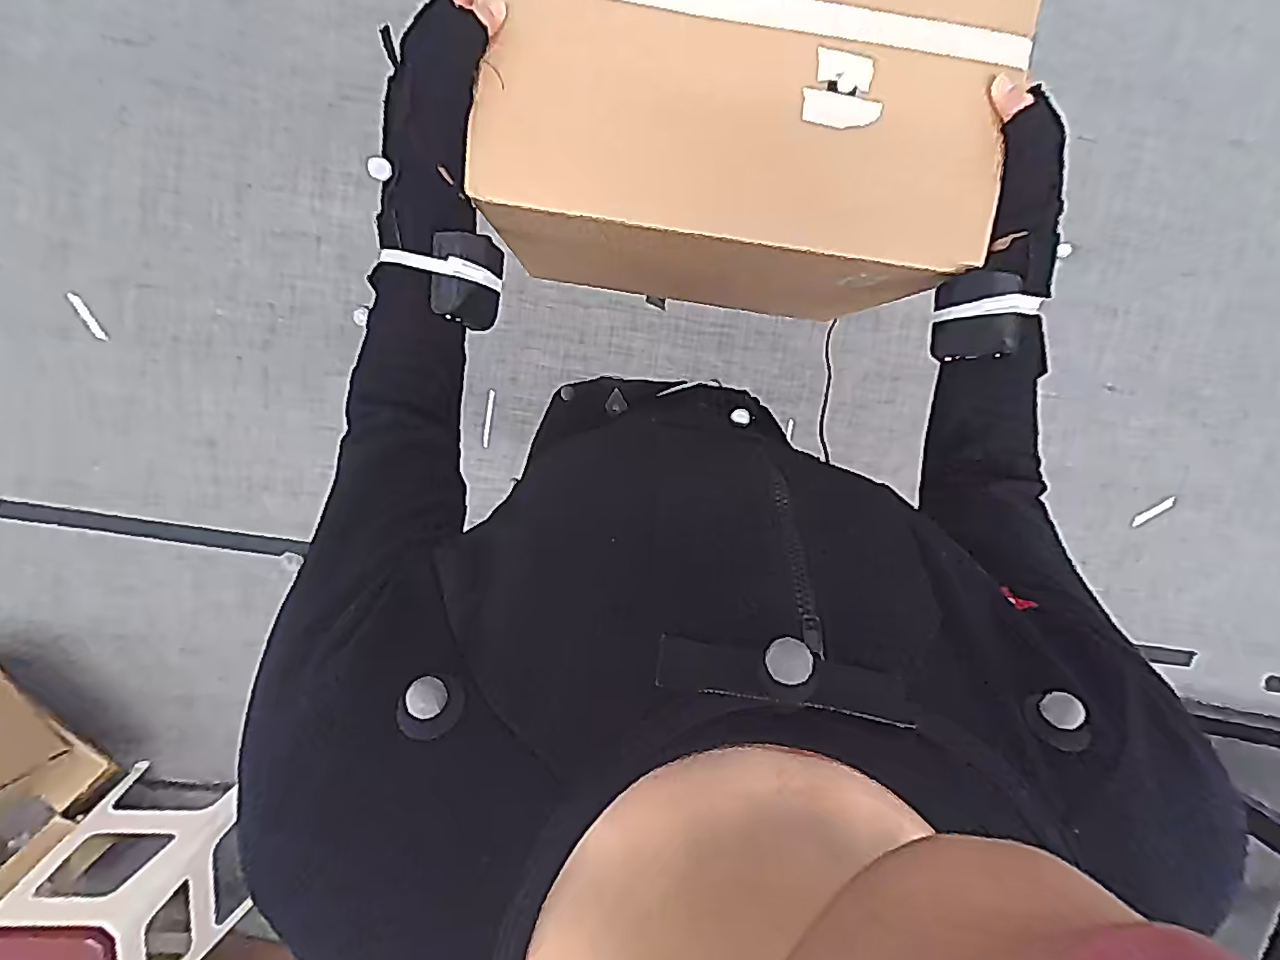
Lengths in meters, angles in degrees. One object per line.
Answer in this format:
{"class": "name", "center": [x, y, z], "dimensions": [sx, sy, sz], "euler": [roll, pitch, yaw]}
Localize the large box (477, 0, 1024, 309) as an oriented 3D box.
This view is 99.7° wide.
{"class": "large box", "center": [0.078, -0.373, 0.546], "dimensions": [0.408, 0.320, 0.320], "euler": [7, 101, -5]}
